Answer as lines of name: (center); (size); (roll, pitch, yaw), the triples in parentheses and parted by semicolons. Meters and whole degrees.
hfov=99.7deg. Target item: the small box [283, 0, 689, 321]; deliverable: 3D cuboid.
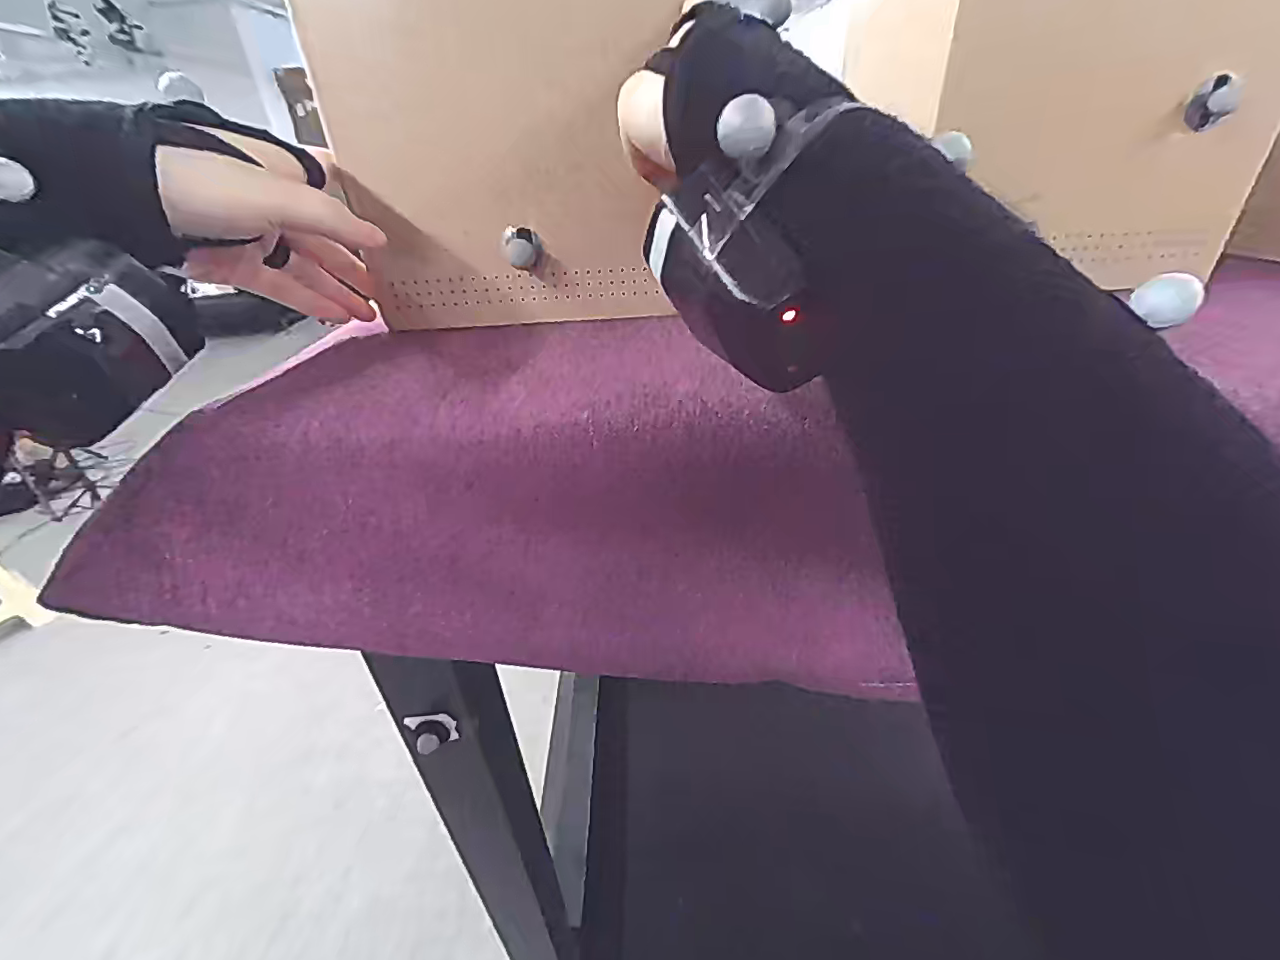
small box: (-0.067, -0.202, 0.327); (0.179, 0.176, 0.168); (-3, 32, -1)
